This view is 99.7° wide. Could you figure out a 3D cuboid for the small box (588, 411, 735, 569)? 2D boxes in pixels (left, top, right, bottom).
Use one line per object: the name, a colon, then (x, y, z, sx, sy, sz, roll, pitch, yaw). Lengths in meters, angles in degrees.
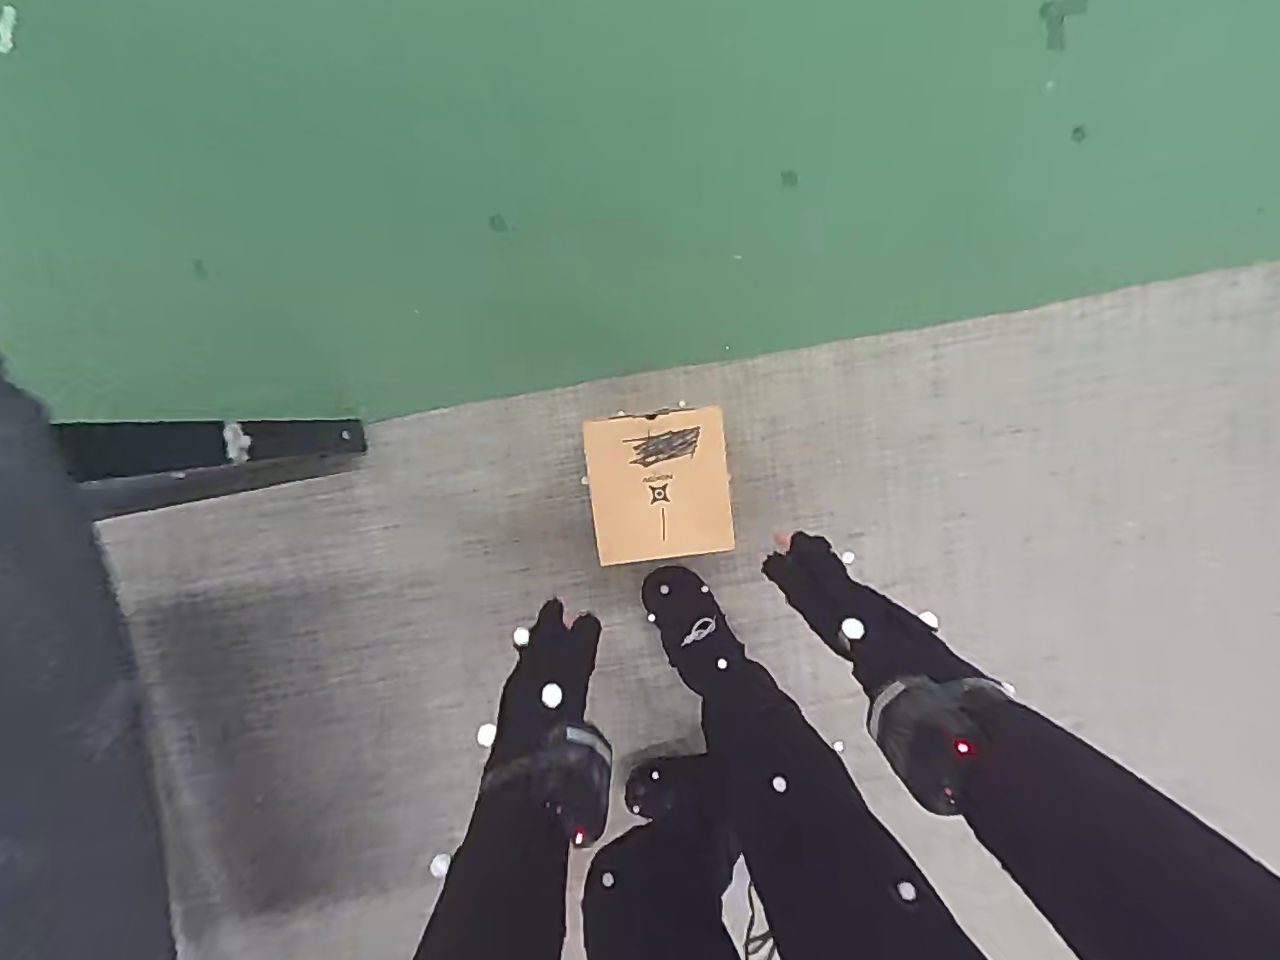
small box: (0.024, 0.006, 0.716, 0.168, 0.176, 0.179, -6, 97, 0)
